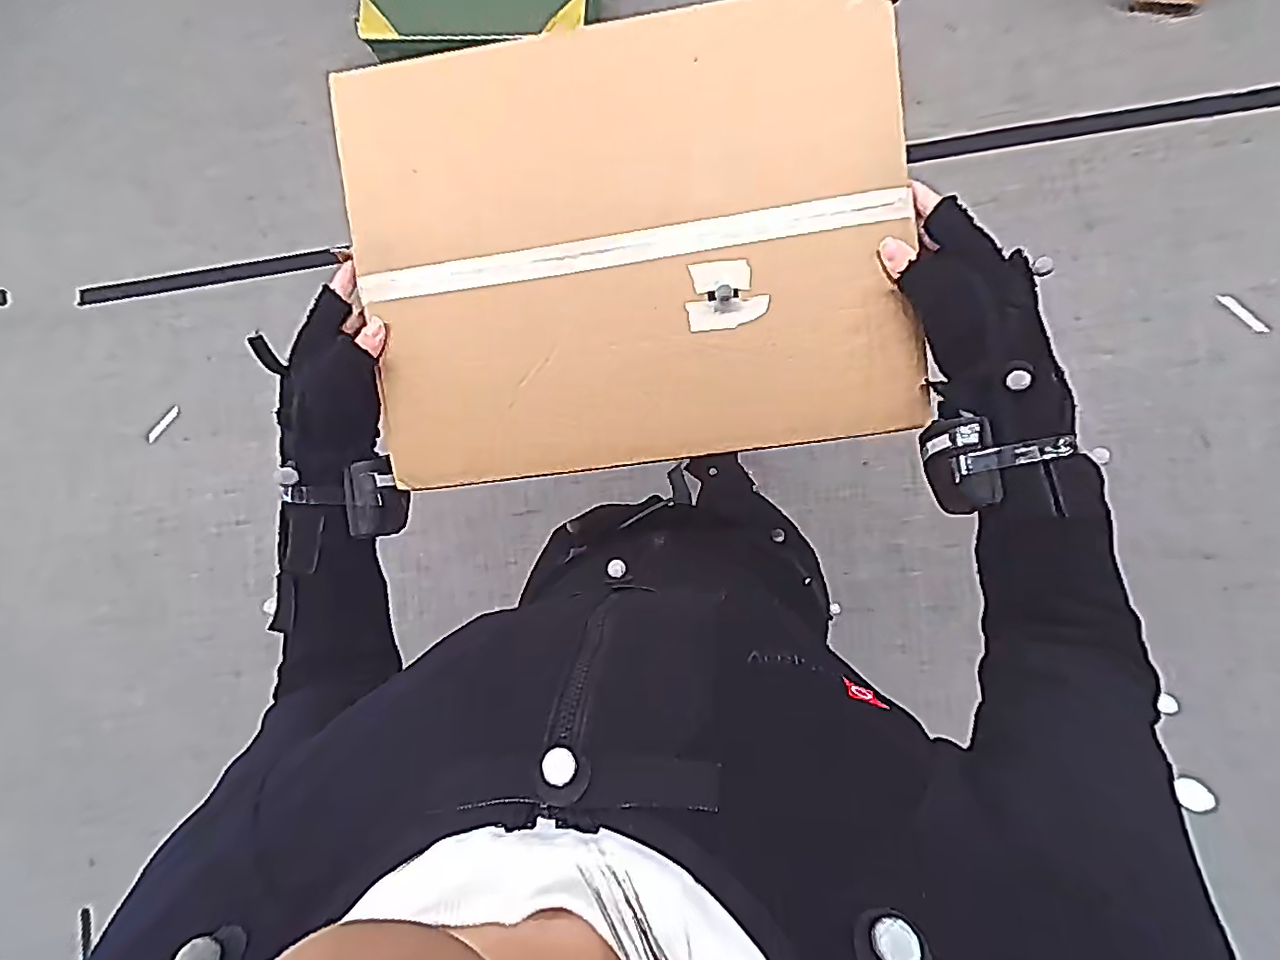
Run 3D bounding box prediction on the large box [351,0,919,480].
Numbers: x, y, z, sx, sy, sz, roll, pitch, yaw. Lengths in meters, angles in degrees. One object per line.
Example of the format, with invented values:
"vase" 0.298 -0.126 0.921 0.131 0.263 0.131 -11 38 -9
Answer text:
"large box" 0.001 -0.190 0.558 0.408 0.320 0.320 -8 95 4
